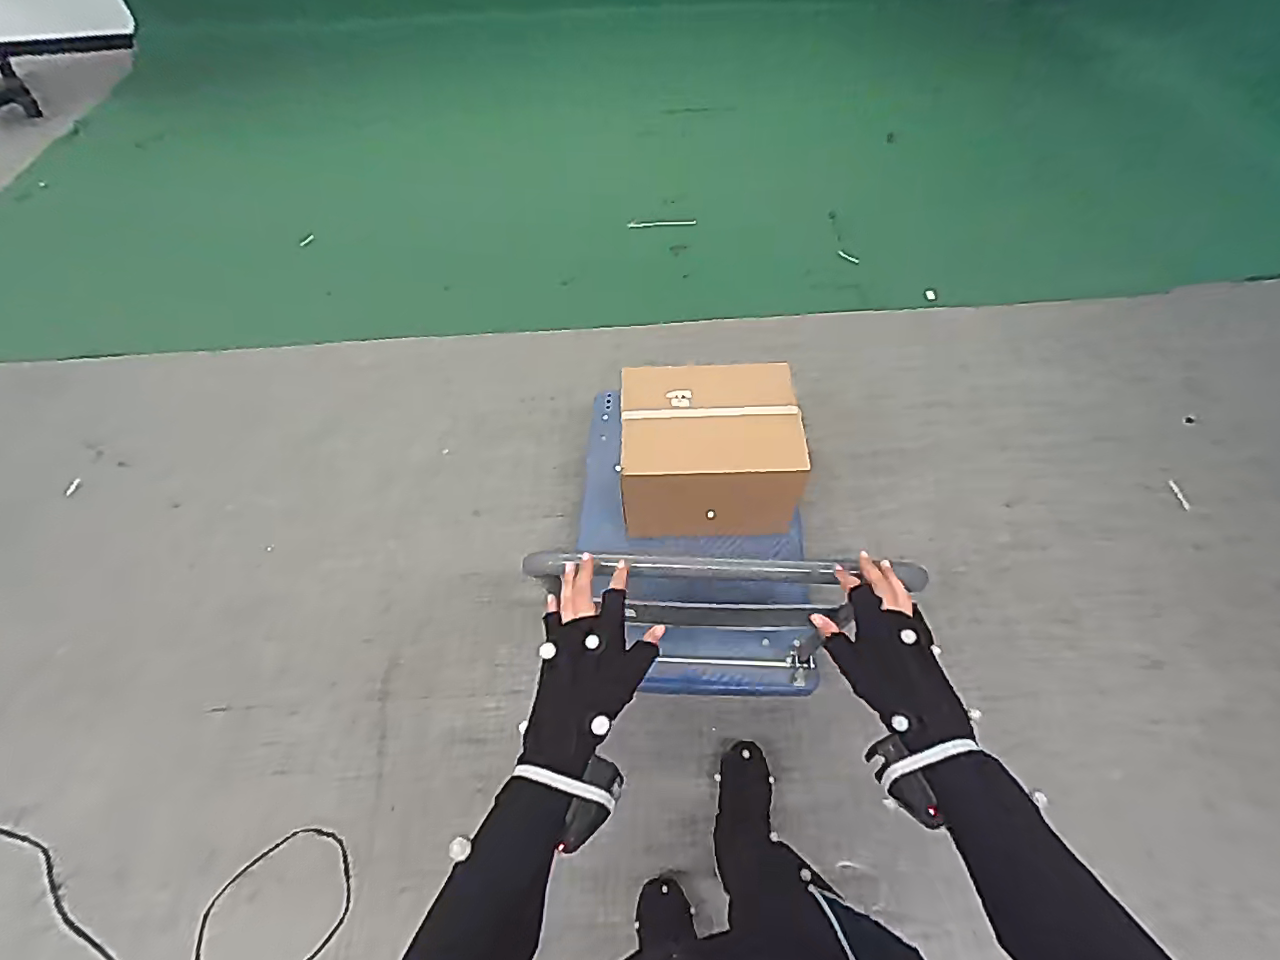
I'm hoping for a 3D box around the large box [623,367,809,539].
[{"bbox_3d":[0.167,-0.057,1.358,0.408,0.320,0.320,-2,57,2],"label":"large box"}]
